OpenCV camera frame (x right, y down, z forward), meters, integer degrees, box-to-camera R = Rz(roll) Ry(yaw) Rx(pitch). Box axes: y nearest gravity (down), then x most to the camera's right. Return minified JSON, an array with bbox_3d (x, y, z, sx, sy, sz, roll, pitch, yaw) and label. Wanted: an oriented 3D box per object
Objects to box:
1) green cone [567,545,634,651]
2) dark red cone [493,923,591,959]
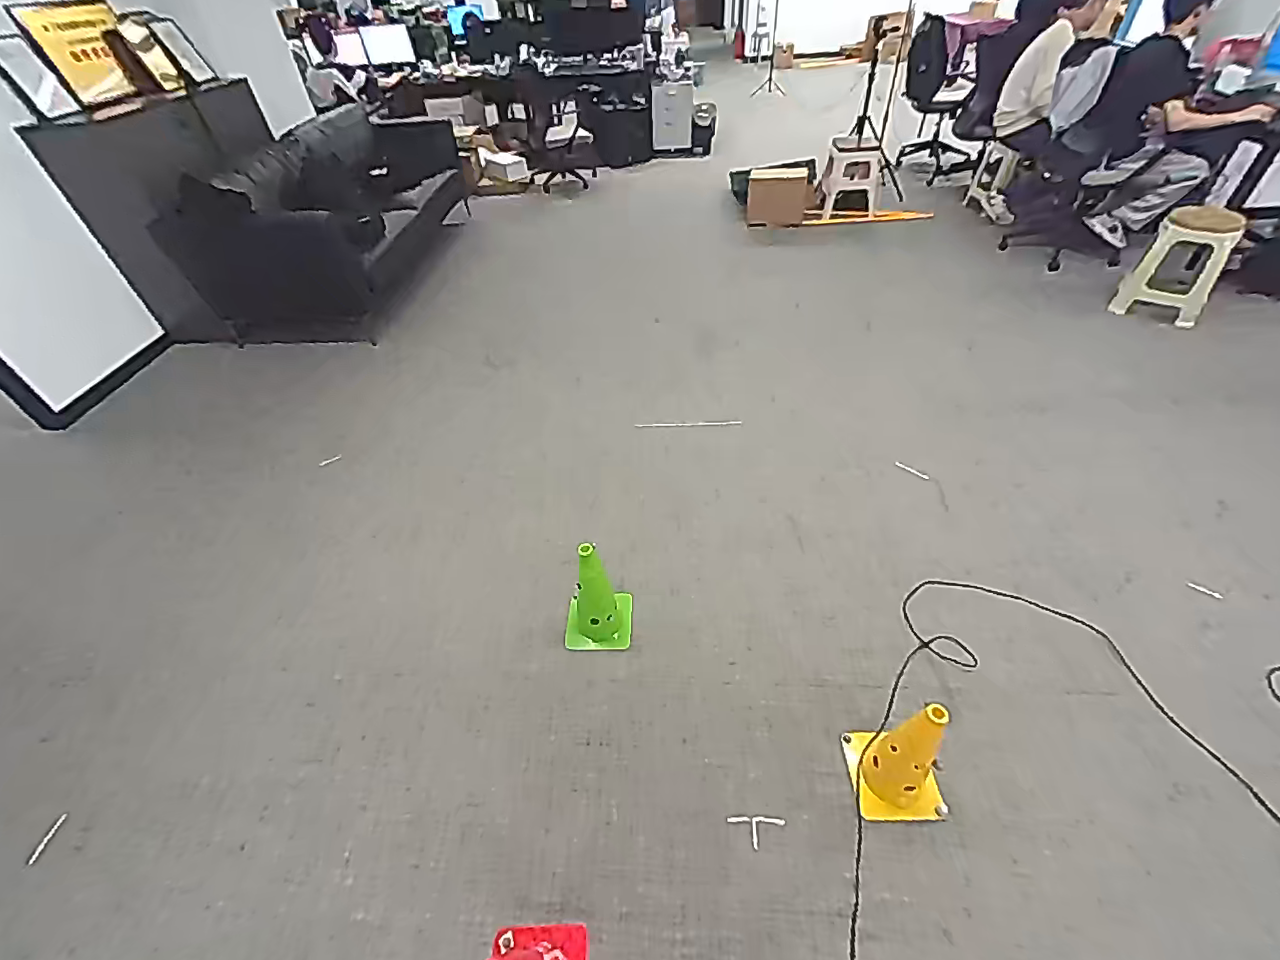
[{"bbox_3d":[-0.130,0.322,1.572,0.202,0.368,0.200,-1,44,3],"label":"green cone"},{"bbox_3d":[-0.210,0.890,0.949,0.202,0.394,0.201,-4,45,1],"label":"dark red cone"}]
